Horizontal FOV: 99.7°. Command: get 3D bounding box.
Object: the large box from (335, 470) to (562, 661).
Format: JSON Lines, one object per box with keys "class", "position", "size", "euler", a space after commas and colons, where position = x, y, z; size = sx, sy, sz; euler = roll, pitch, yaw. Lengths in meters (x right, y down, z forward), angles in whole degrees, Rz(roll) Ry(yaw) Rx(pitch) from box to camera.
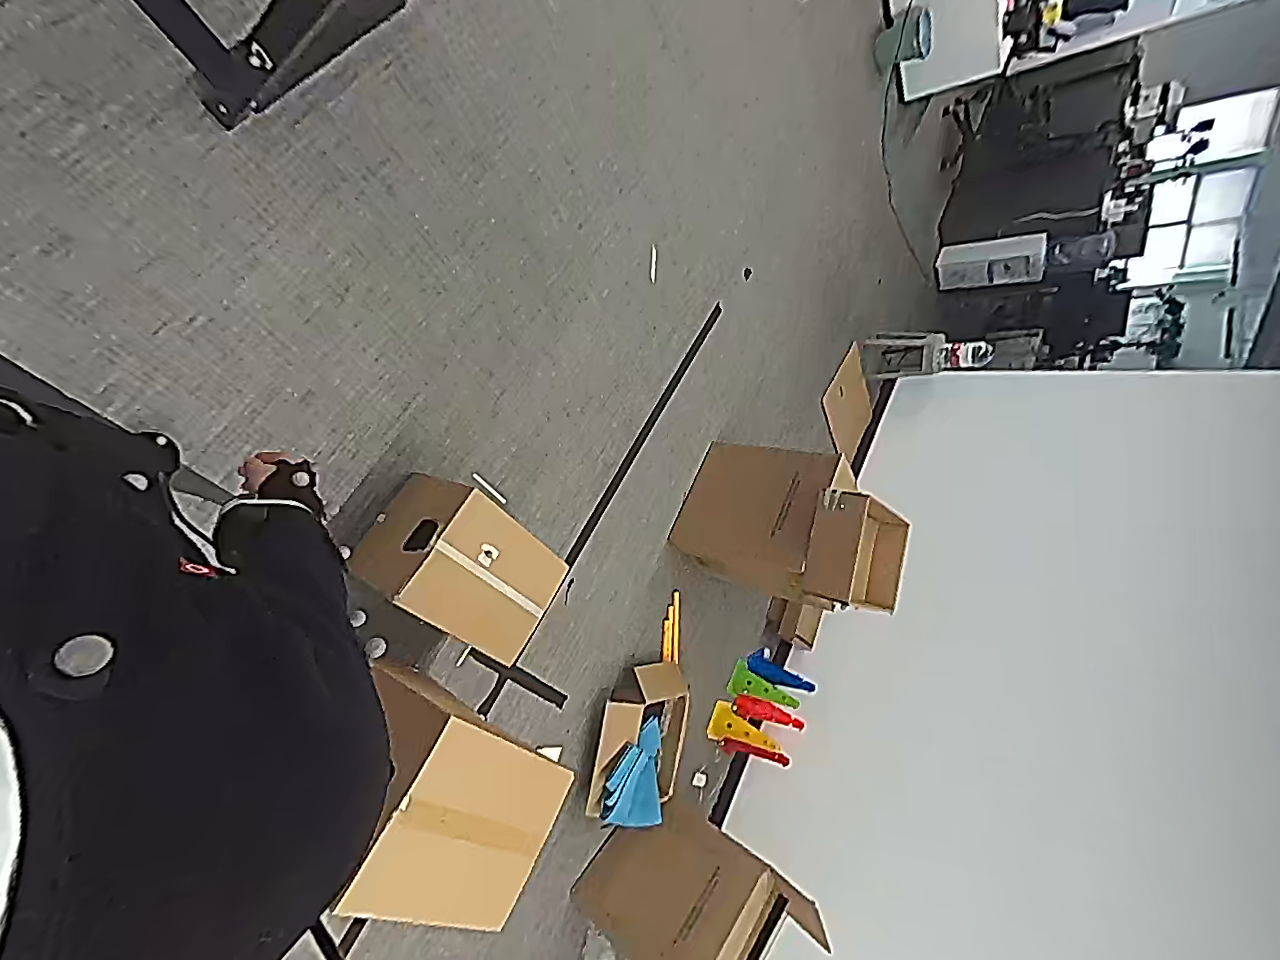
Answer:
{"class": "large box", "position": [-0.492, 0.222, 1.434], "size": [0.408, 0.320, 0.320], "euler": [50, 60, -41]}
